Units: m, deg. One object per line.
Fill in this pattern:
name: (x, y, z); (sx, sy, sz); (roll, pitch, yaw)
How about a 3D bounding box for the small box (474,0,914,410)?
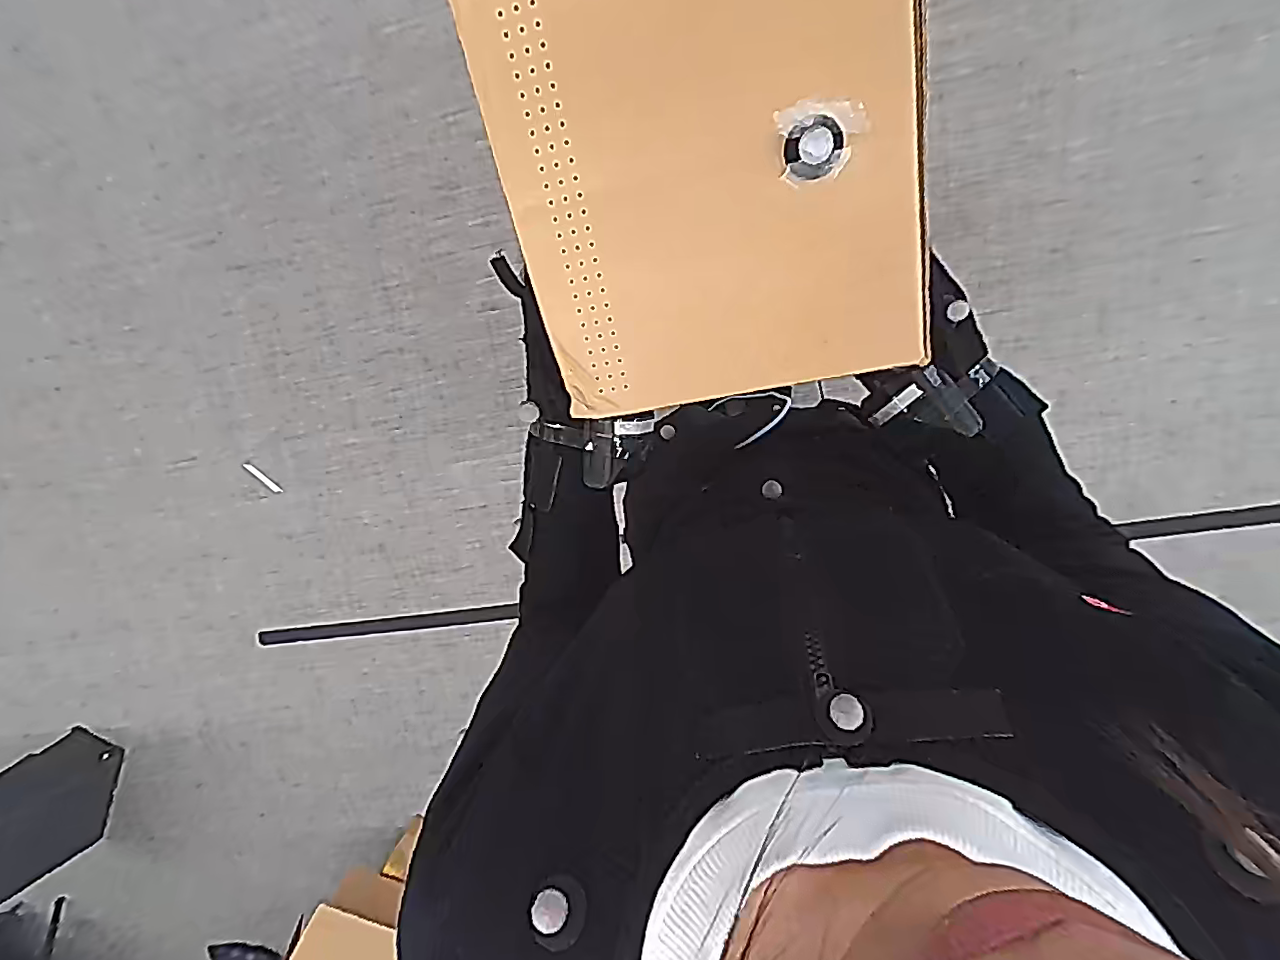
small box: (0.034, -0.155, 0.300); (0.176, 0.168, 0.179); (-8, 114, 13)
